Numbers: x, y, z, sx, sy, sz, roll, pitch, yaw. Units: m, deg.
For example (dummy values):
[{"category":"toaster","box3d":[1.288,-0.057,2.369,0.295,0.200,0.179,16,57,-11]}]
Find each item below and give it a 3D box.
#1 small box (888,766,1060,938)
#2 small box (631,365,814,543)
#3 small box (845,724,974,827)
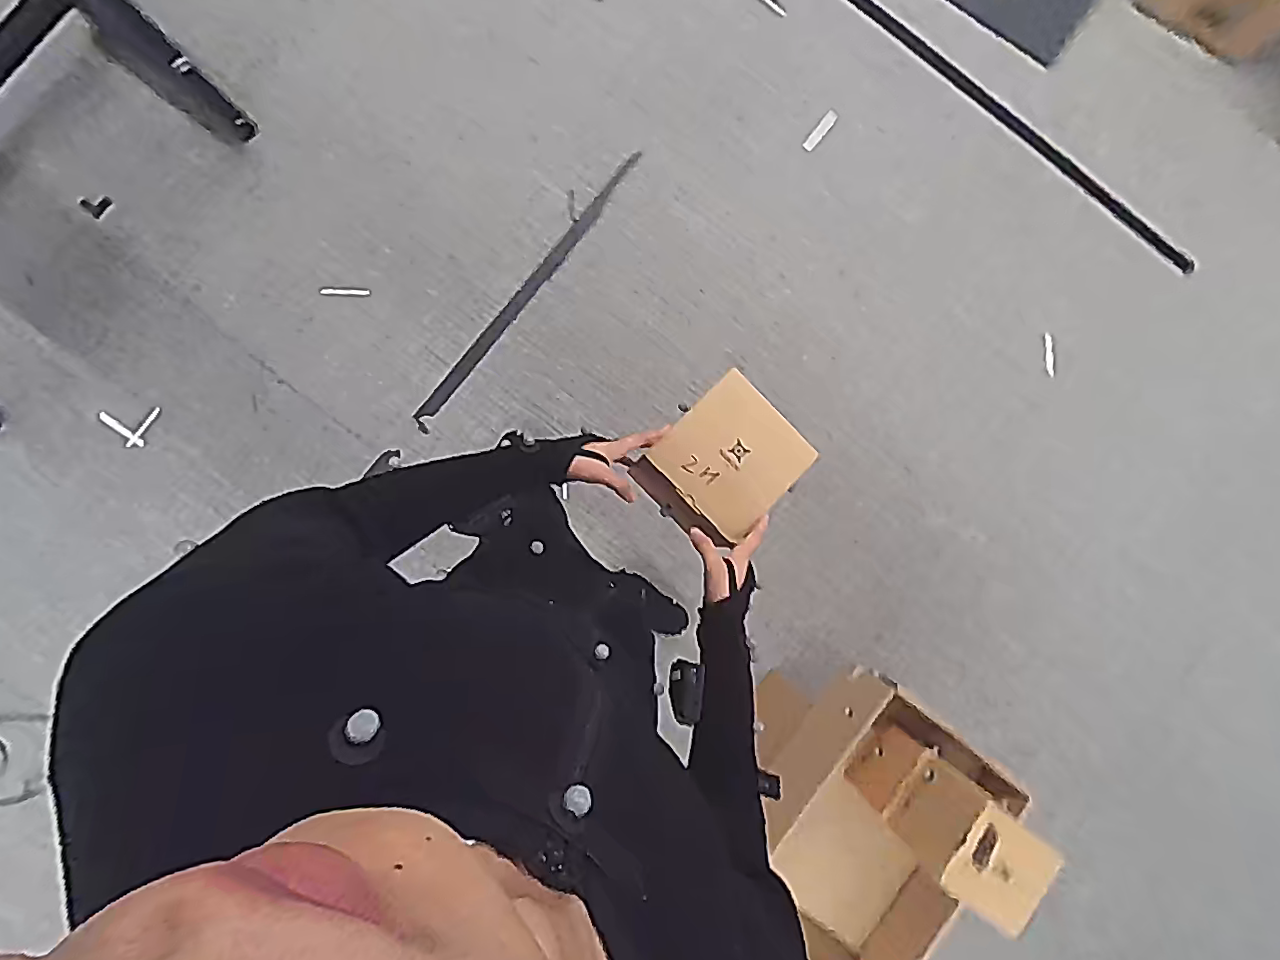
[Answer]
[{"category":"small box","box3d":[0.606,0.672,1.006,0.179,0.176,0.168,38,86,-2]},{"category":"small box","box3d":[0.104,-0.028,0.773,0.168,0.176,0.179,45,81,-1]},{"category":"small box","box3d":[0.587,0.667,1.170,0.179,0.176,0.168,37,86,-1]}]
